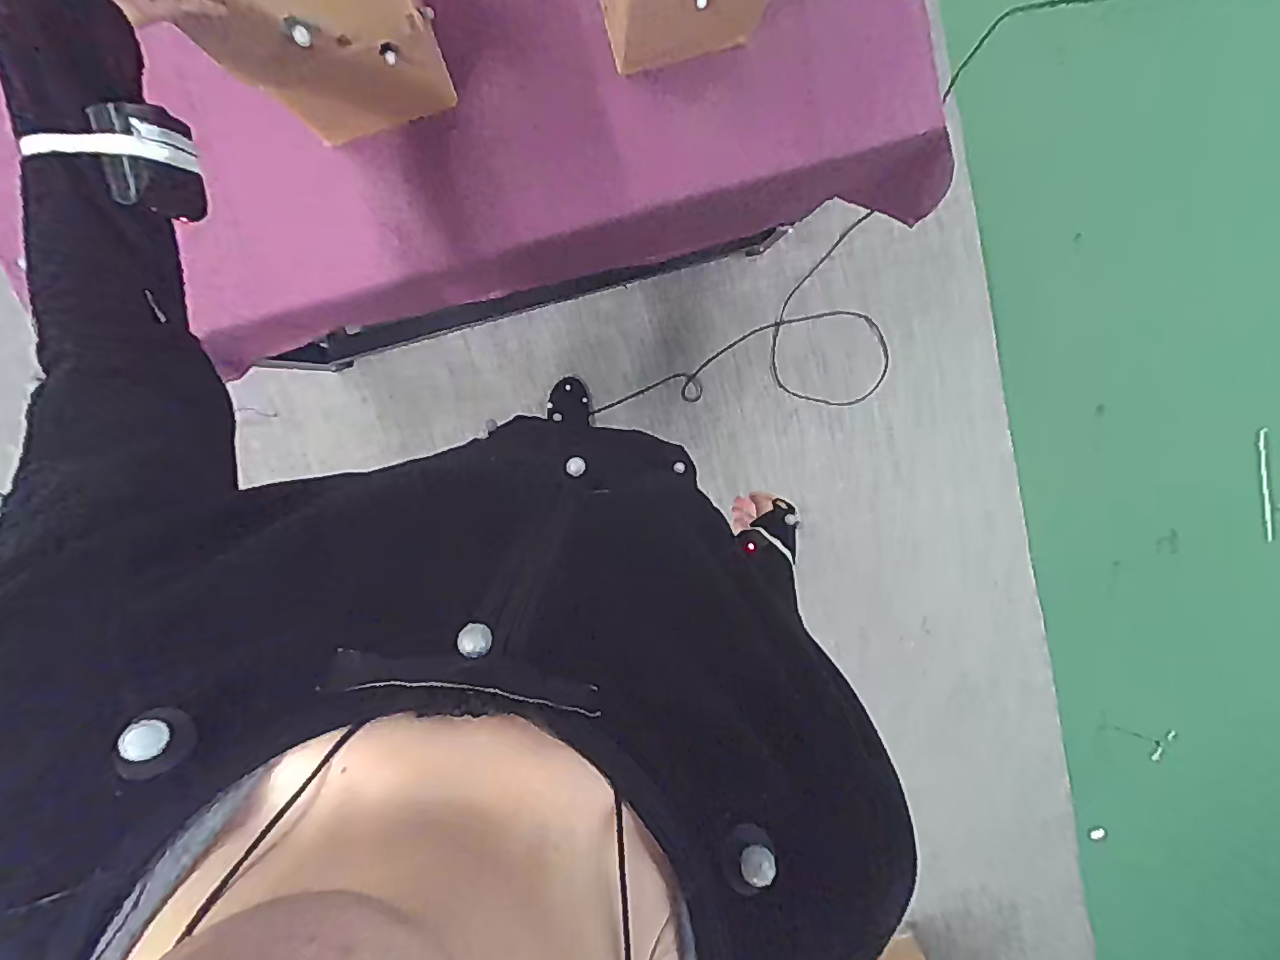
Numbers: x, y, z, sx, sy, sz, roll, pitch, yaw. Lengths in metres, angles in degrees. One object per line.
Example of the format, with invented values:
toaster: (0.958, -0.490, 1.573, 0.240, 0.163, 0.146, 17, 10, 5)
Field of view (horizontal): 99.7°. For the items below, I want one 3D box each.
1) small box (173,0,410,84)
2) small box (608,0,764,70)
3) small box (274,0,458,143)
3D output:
small box: (-0.314, -0.468, 0.425, 0.168, 0.176, 0.179, -20, 100, -1)
small box: (0.046, -0.600, 0.598, 0.179, 0.176, 0.168, -16, 101, -2)
small box: (-0.325, -0.505, 0.586, 0.179, 0.176, 0.168, -20, 100, -2)
